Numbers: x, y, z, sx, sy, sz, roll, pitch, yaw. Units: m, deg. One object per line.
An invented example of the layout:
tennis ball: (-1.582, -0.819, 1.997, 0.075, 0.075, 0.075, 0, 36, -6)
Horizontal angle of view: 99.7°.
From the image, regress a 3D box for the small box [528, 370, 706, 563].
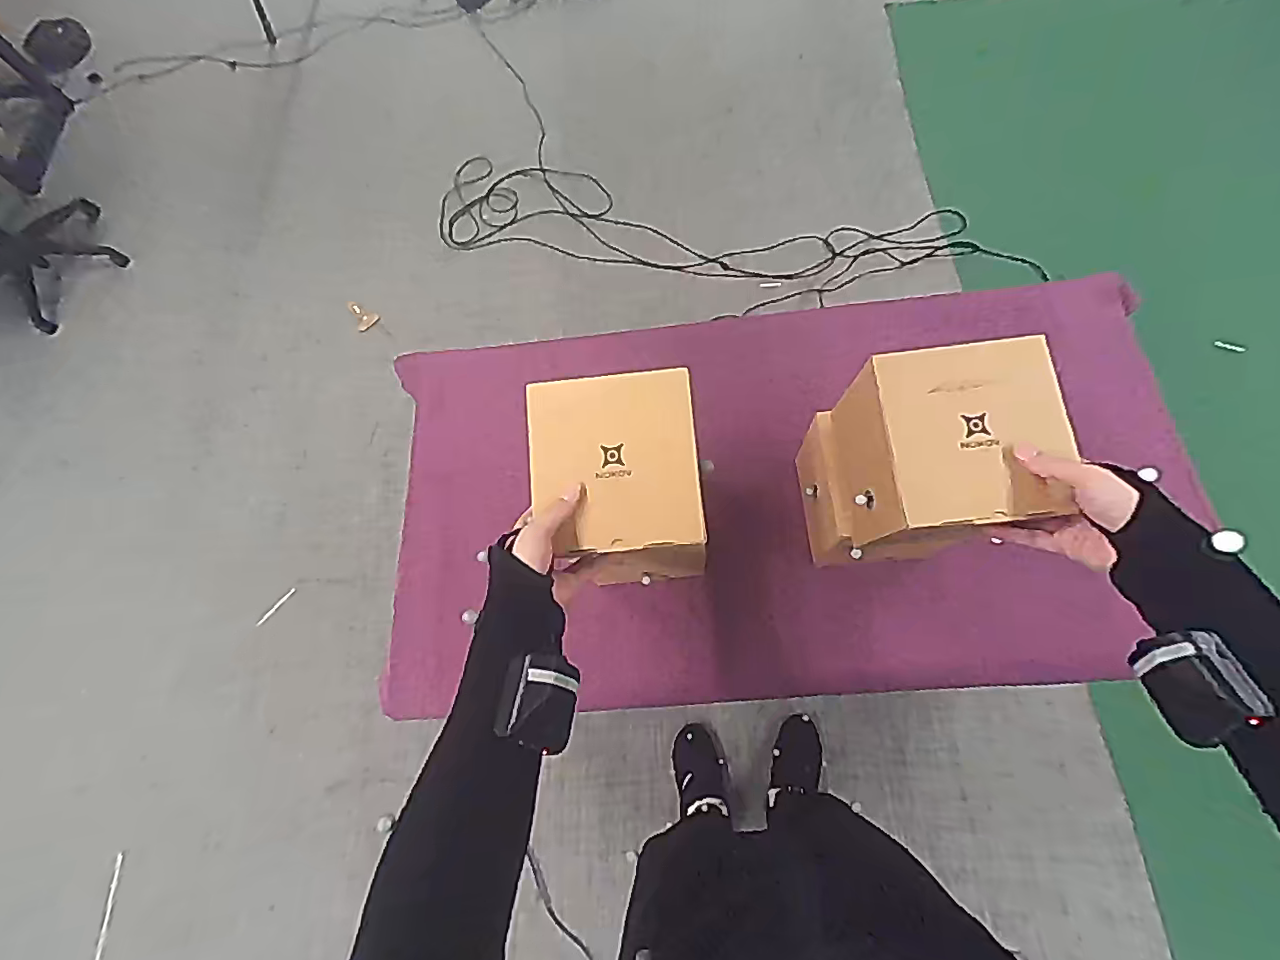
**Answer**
small box: (-0.021, -0.003, 0.595, 0.168, 0.176, 0.179, -5, 80, 3)

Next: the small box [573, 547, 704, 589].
small box: (-0.001, 0.048, 0.765, 0.168, 0.176, 0.179, -6, 69, 4)

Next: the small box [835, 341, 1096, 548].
small box: (0.320, -0.023, 0.574, 0.168, 0.176, 0.179, -5, 75, 4)
